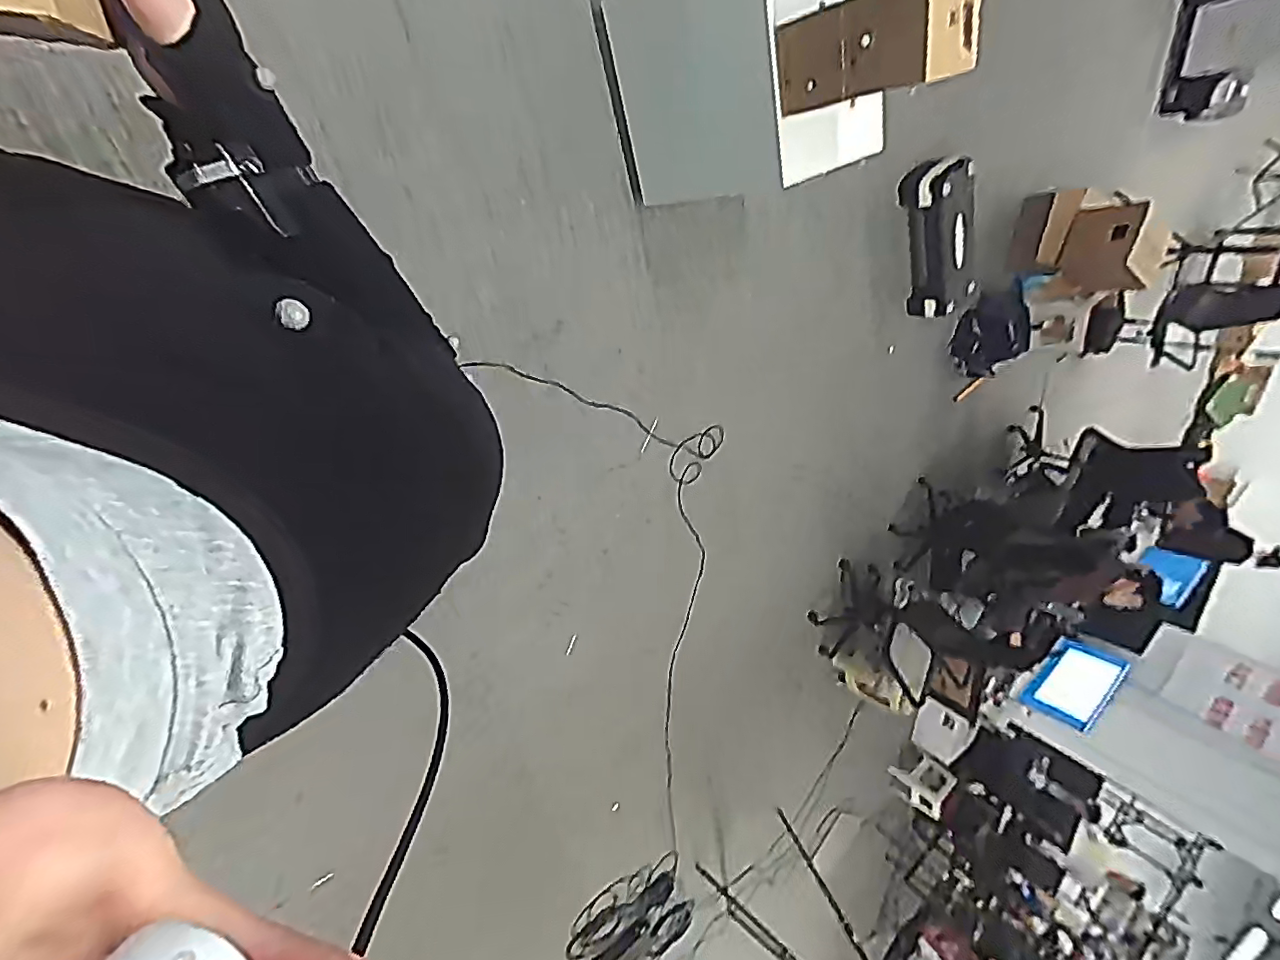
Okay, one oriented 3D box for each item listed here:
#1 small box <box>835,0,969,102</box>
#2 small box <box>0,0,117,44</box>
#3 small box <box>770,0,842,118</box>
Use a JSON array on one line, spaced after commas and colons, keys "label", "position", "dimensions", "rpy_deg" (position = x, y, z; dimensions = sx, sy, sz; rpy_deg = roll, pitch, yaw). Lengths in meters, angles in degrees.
[{"label": "small box", "position": [0.492, -0.840, 1.024], "dimensions": [0.179, 0.176, 0.168], "rpy_deg": [-32, 125, -25]}, {"label": "small box", "position": [-0.354, -0.284, 0.201], "dimensions": [0.179, 0.176, 0.168], "rpy_deg": [-13, 126, -27]}, {"label": "small box", "position": [0.391, -0.889, 1.144], "dimensions": [0.179, 0.176, 0.168], "rpy_deg": [-34, 127, -26]}]
